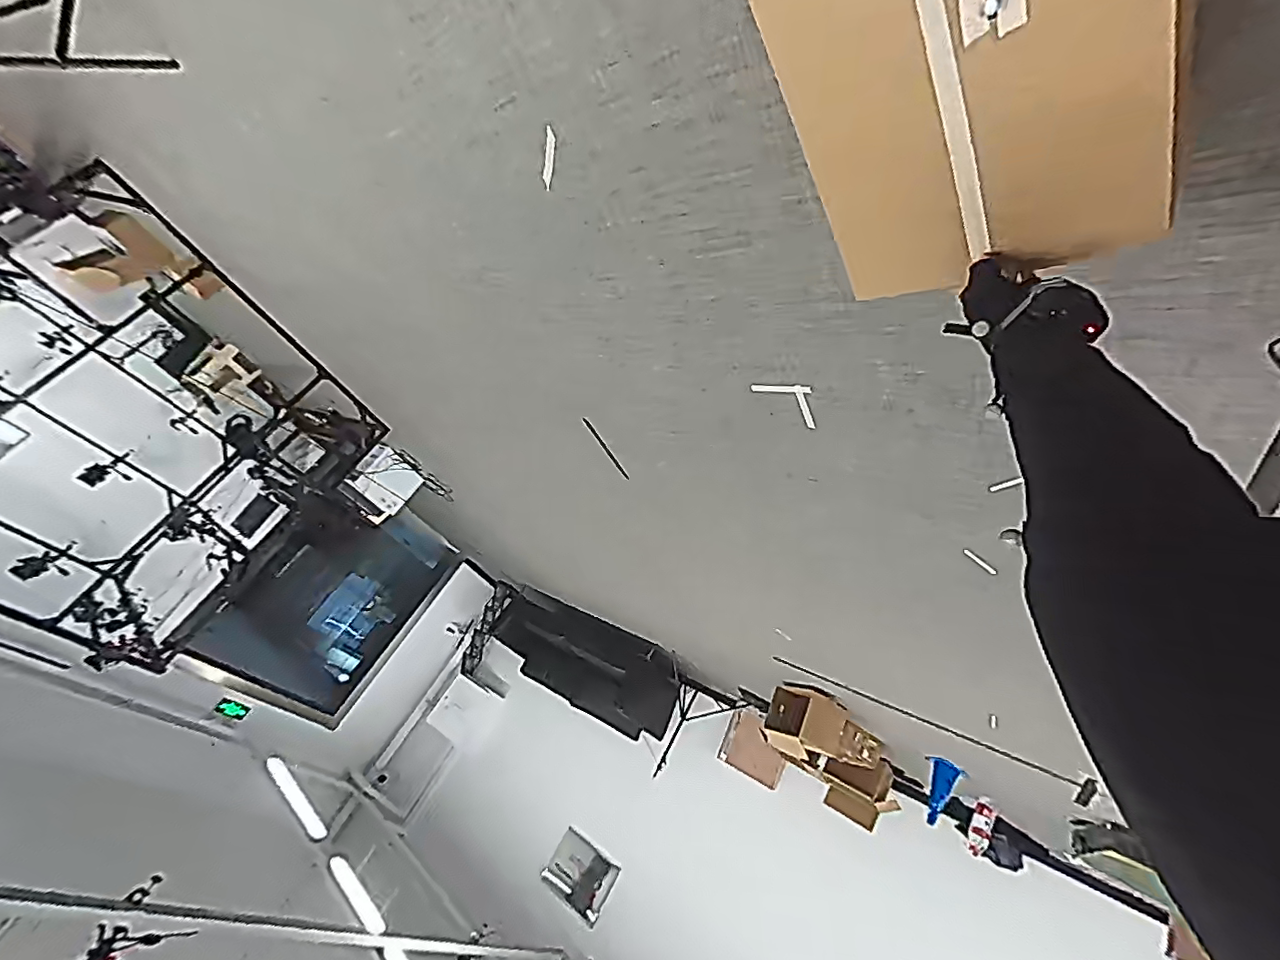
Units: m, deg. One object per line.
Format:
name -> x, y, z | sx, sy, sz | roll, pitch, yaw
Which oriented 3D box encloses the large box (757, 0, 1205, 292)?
large box -> 0.386, -0.490, 0.592 | 0.320, 0.320, 0.408 | 4, 142, 46
